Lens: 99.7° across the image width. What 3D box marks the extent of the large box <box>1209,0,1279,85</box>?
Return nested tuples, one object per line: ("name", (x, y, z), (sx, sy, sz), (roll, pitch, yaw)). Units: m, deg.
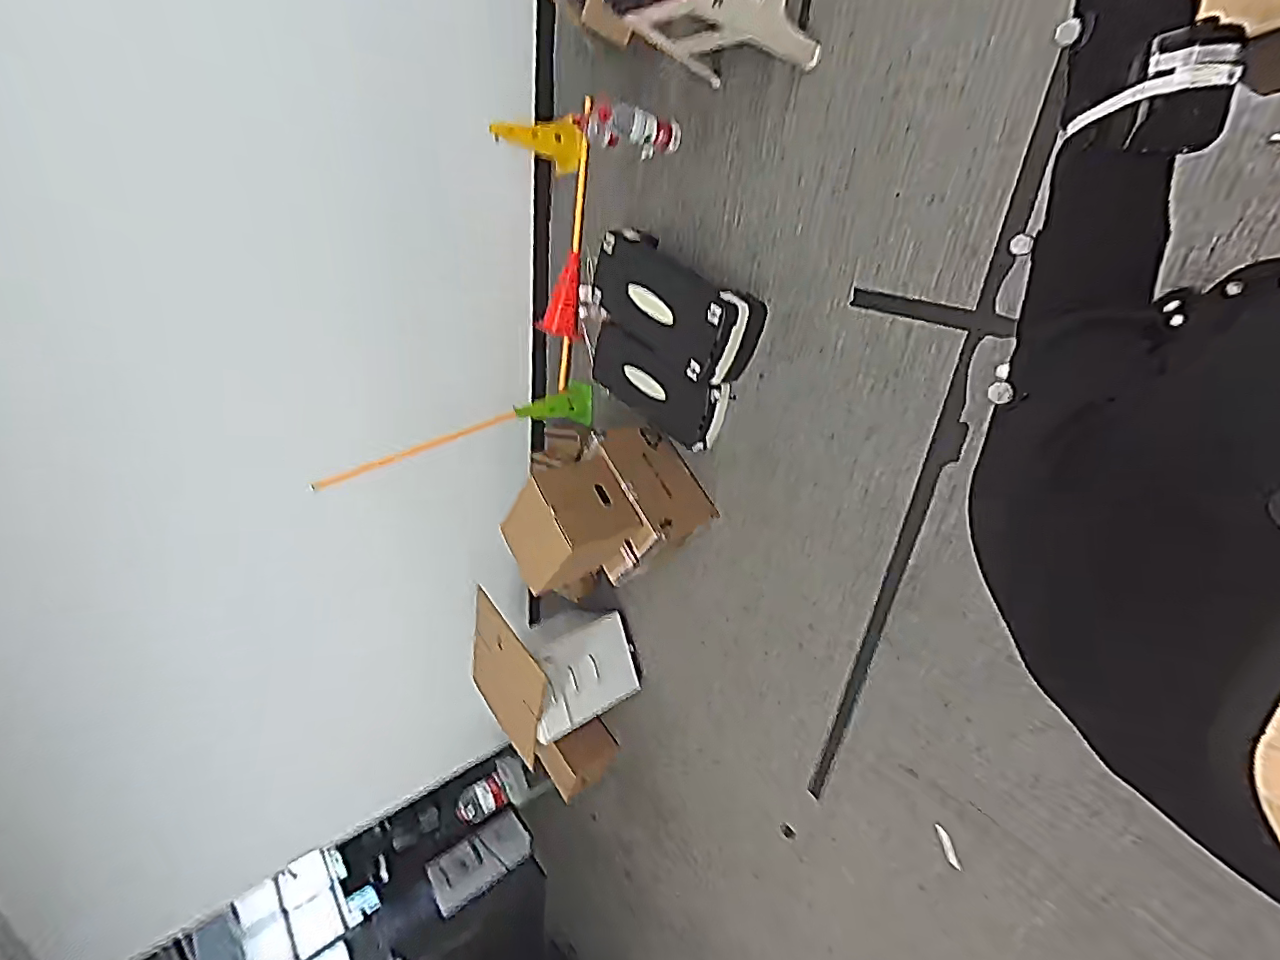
("large box", (0.580, -0.453, 0.243), (0.408, 0.320, 0.320), (12, 118, 51))
